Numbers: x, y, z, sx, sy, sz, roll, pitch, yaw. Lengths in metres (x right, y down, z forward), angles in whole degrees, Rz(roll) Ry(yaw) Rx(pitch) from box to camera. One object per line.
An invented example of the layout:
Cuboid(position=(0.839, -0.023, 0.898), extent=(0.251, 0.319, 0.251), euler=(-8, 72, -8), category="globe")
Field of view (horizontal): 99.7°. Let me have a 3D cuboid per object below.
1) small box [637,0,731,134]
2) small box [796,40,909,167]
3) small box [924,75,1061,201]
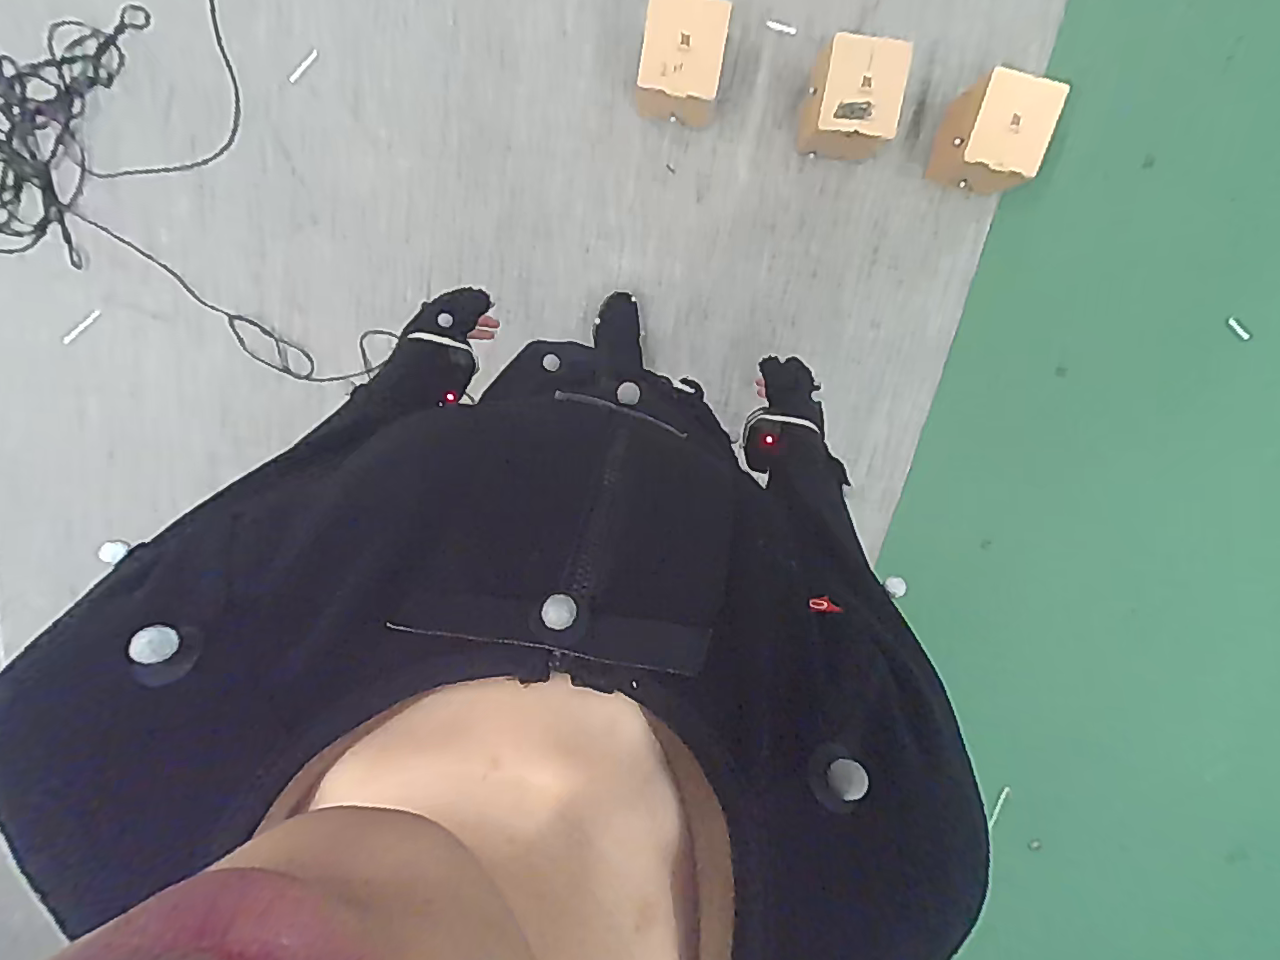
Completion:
Cuboid(position=(0.089, -0.888, 1.173), extent=(0.168, 0.176, 0.179), euler=(10, 105, -1), category="small box")
Cuboid(position=(0.457, -0.817, 1.193), extent=(0.168, 0.176, 0.179), euler=(7, 104, -2), category="small box")
Cuboid(position=(0.774, -0.753, 1.210), extent=(0.168, 0.176, 0.179), euler=(13, 105, -3), category="small box")
